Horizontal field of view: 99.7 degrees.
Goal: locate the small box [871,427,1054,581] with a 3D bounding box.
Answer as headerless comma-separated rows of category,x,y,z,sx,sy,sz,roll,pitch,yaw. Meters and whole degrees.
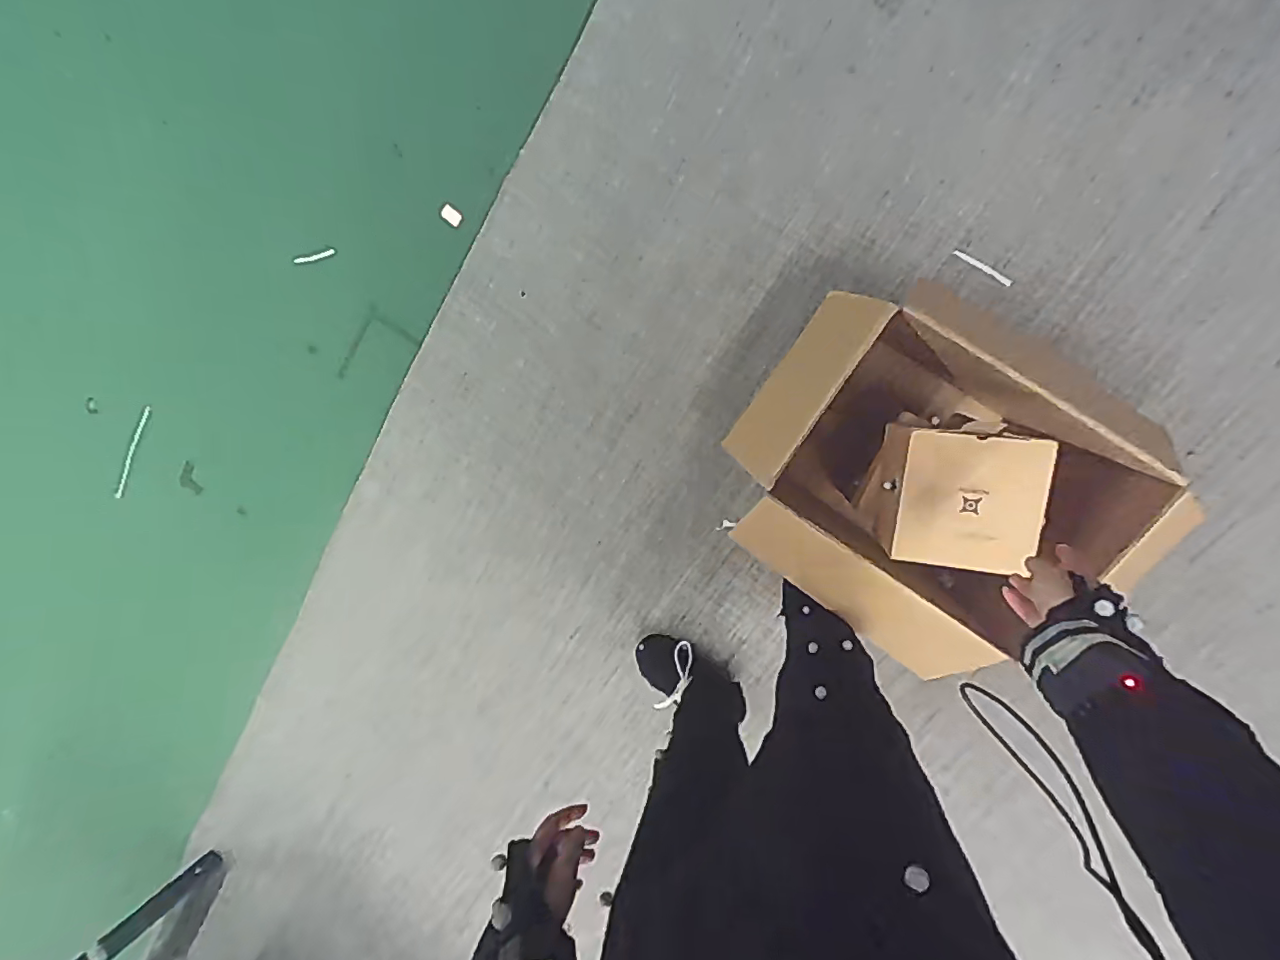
small box,0.435,0.021,0.761,0.168,0.176,0.179,8,100,13
